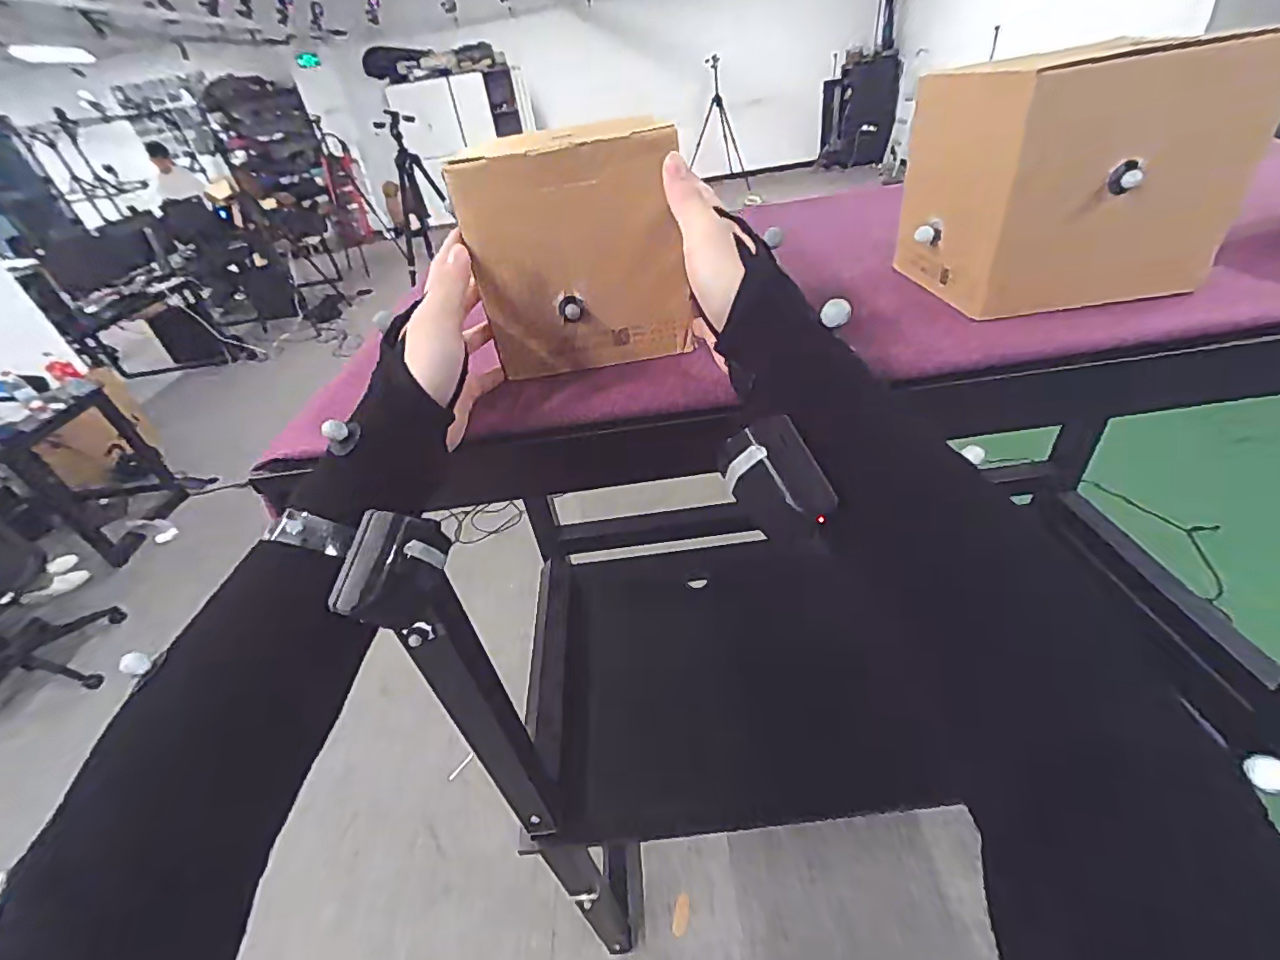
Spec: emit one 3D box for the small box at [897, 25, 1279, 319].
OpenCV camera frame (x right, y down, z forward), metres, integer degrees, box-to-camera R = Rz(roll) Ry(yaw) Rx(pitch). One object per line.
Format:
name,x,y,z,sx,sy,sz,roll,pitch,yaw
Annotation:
small box,0.340,-0.250,0.449,0.179,0.176,0.168,-8,36,4

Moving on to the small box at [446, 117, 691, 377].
small box,-0.051,-0.211,0.486,0.168,0.176,0.179,-9,37,1
